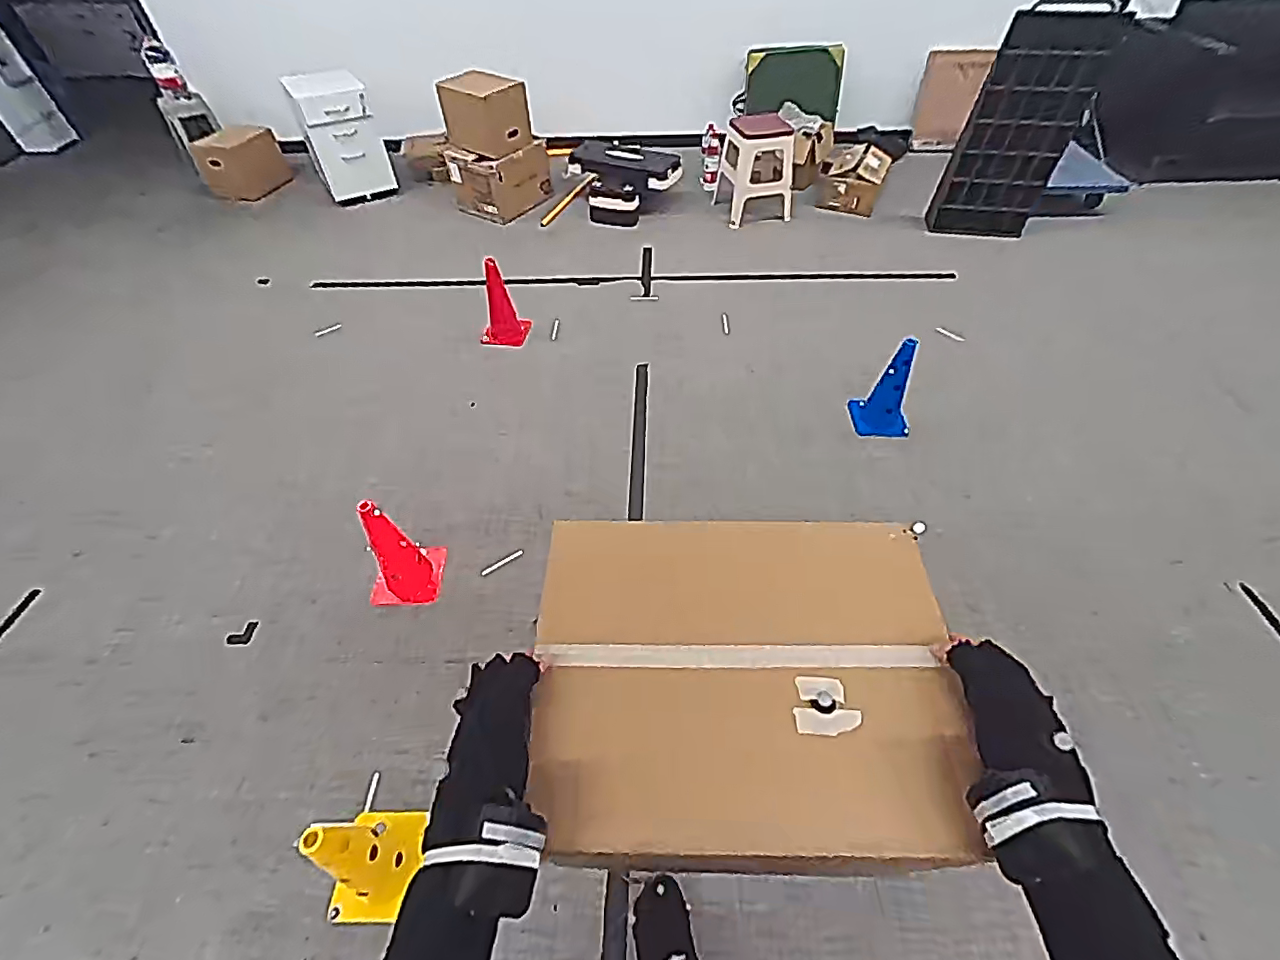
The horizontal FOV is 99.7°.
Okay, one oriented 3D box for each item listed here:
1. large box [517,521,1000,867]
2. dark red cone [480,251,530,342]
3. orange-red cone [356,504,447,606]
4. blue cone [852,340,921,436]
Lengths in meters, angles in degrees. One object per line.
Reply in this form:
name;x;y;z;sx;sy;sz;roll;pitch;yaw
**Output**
large box;0.096;0.261;0.646;0.408;0.320;0.320;0;52;1
dark red cone;-0.625;-0.808;2.380;0.201;0.394;0.202;5;50;5
orange-red cone;-0.717;0.191;1.552;0.198;0.360;0.199;-3;51;1
blue cone;0.932;-0.349;1.986;0.192;0.380;0.193;3;50;3
